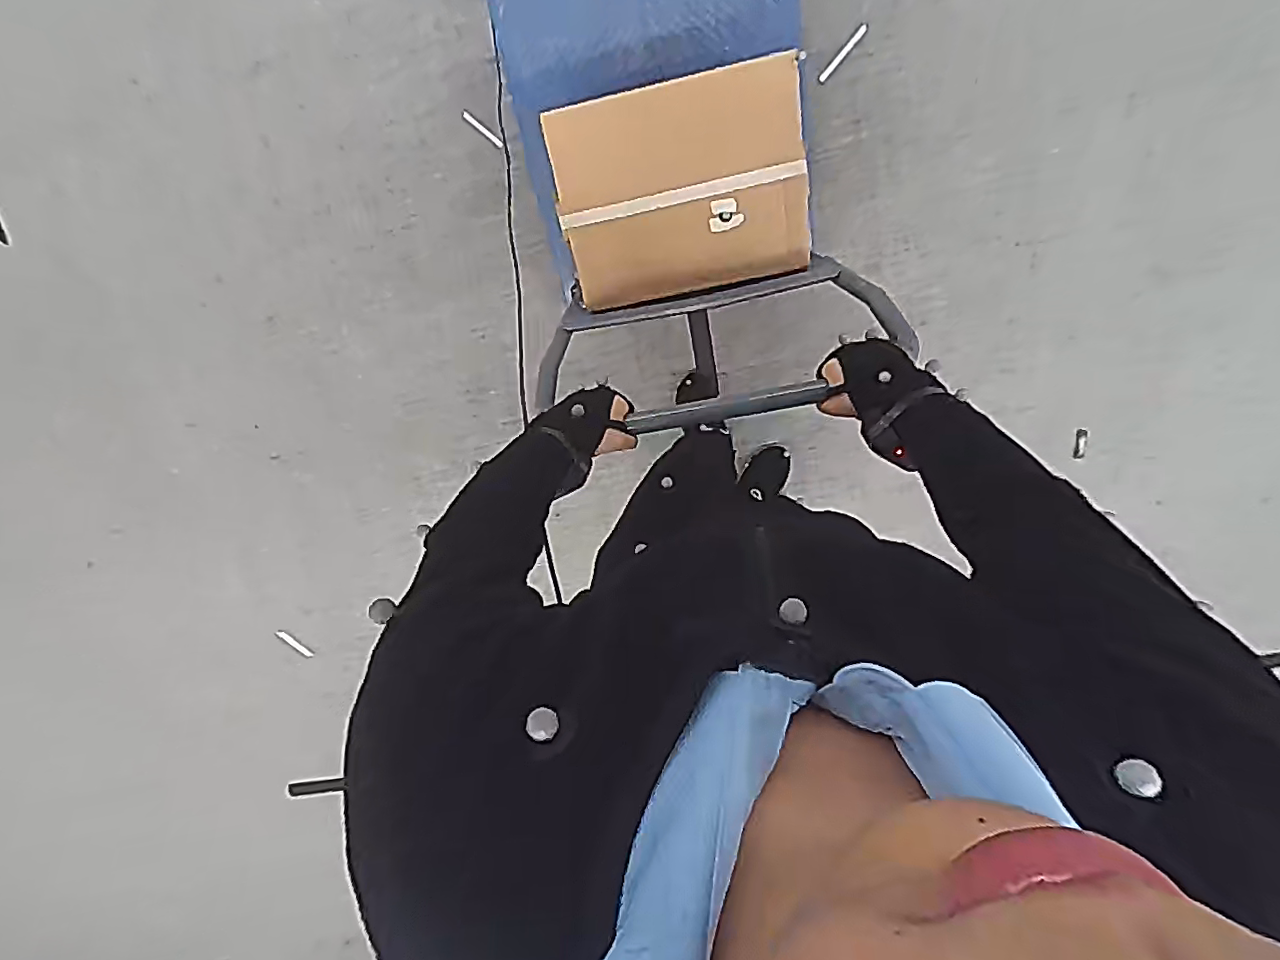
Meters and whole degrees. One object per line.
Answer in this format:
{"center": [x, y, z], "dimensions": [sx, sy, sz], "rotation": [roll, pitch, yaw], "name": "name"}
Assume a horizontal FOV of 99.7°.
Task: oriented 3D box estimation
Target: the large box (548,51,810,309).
{"center": [0.076, -0.551, 1.045], "dimensions": [0.408, 0.320, 0.320], "rotation": [-11, 117, 6], "name": "large box"}
